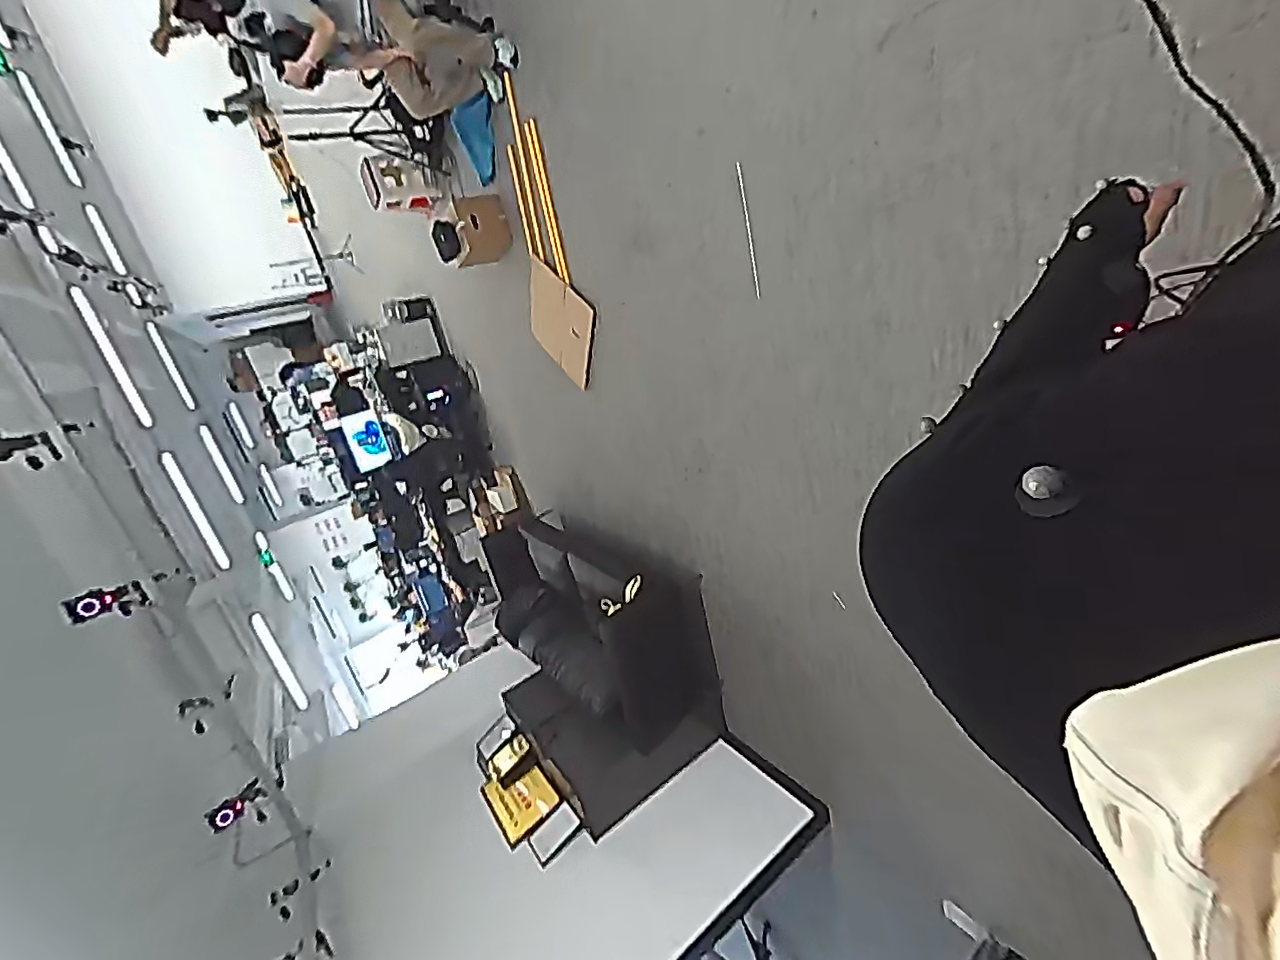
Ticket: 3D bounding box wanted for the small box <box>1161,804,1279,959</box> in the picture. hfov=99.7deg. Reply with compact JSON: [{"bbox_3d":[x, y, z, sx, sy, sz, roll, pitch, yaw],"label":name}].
[{"bbox_3d":[1.078,0.724,0.952,0.168,0.176,0.179,28,136,50],"label":"small box"}]
